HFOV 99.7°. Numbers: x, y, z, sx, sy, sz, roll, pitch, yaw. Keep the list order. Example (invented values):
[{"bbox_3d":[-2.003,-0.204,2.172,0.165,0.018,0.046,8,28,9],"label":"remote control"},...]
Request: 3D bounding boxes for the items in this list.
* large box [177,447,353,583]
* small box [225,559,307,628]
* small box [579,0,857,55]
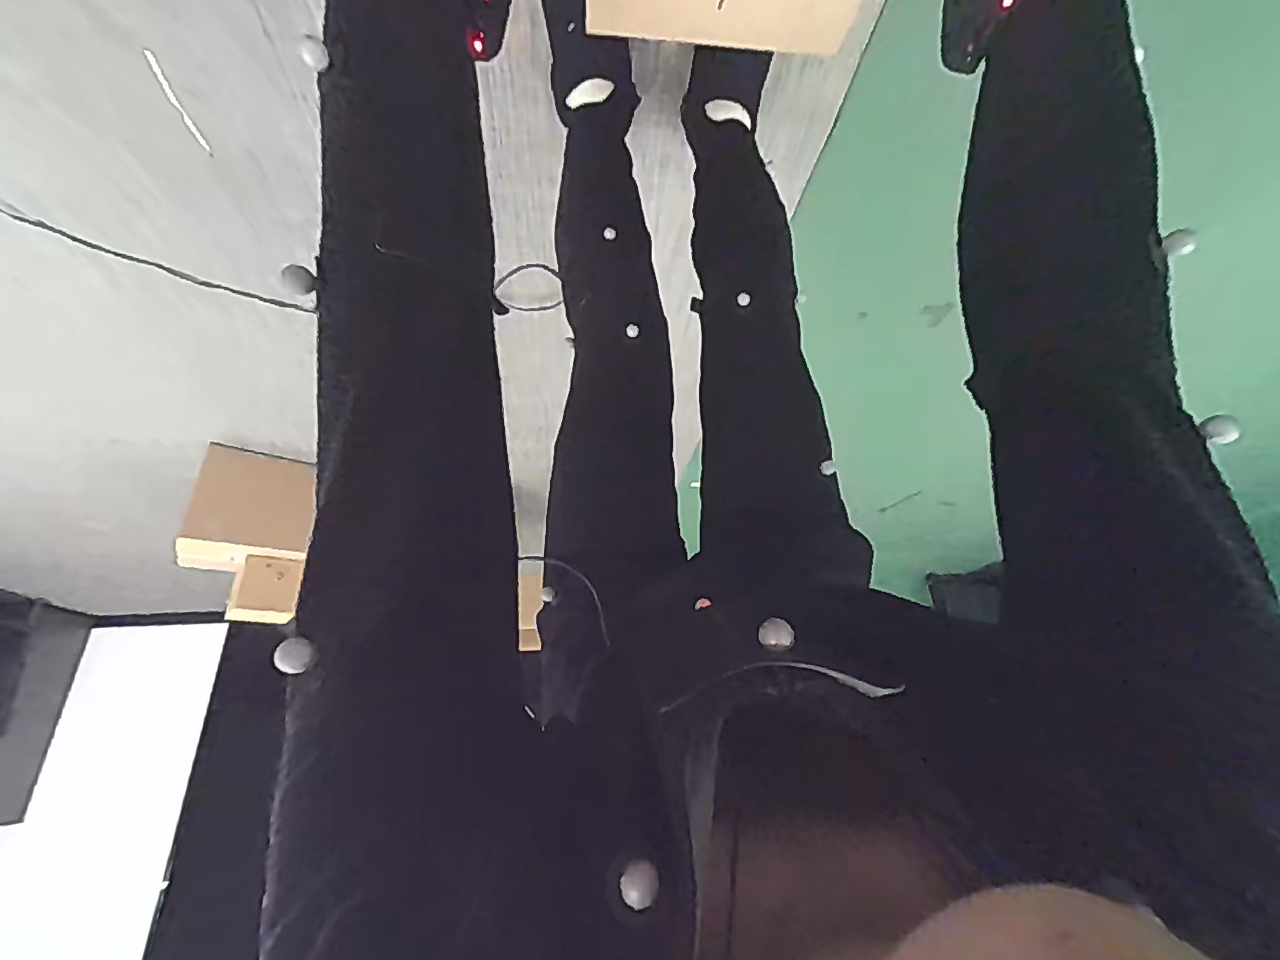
[{"bbox_3d":[-1.220,0.130,1.786,0.408,0.320,0.320,17,147,-33],"label":"large box"},{"bbox_3d":[-1.179,0.362,1.708,0.168,0.176,0.179,19,147,-37],"label":"small box"},{"bbox_3d":[0.051,-0.376,0.280,0.168,0.176,0.179,0,164,-7],"label":"small box"}]
